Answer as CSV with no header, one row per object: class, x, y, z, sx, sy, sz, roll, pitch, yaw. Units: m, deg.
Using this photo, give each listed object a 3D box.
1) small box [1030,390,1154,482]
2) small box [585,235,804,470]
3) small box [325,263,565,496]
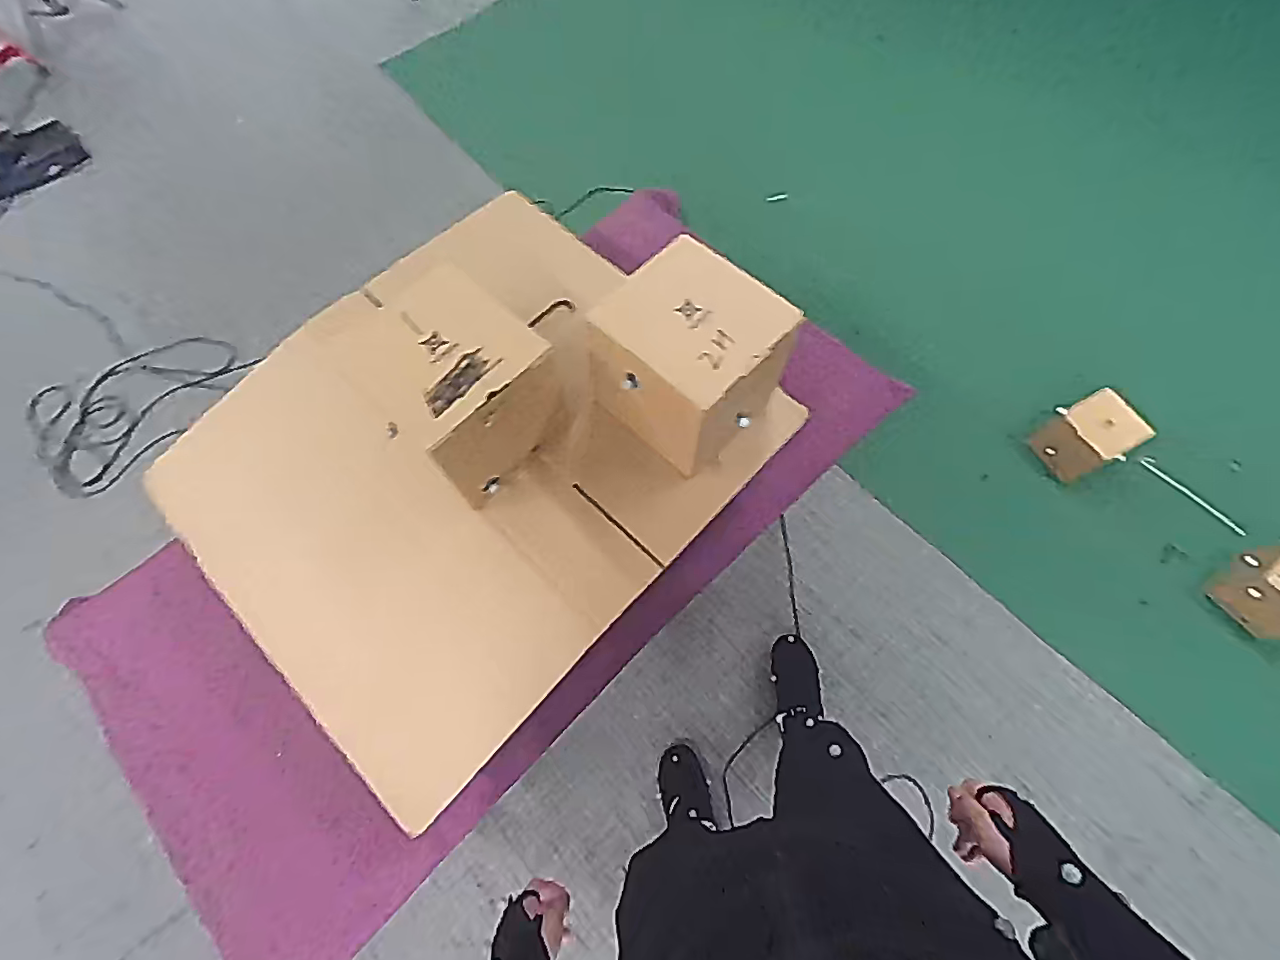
small box,1.280,-0.122,1.548,0.179,0.176,0.168,-28,70,-7
small box,0.056,-0.142,0.643,0.179,0.176,0.168,42,73,16
small box,-0.206,-0.102,0.626,0.179,0.176,0.168,40,72,16
